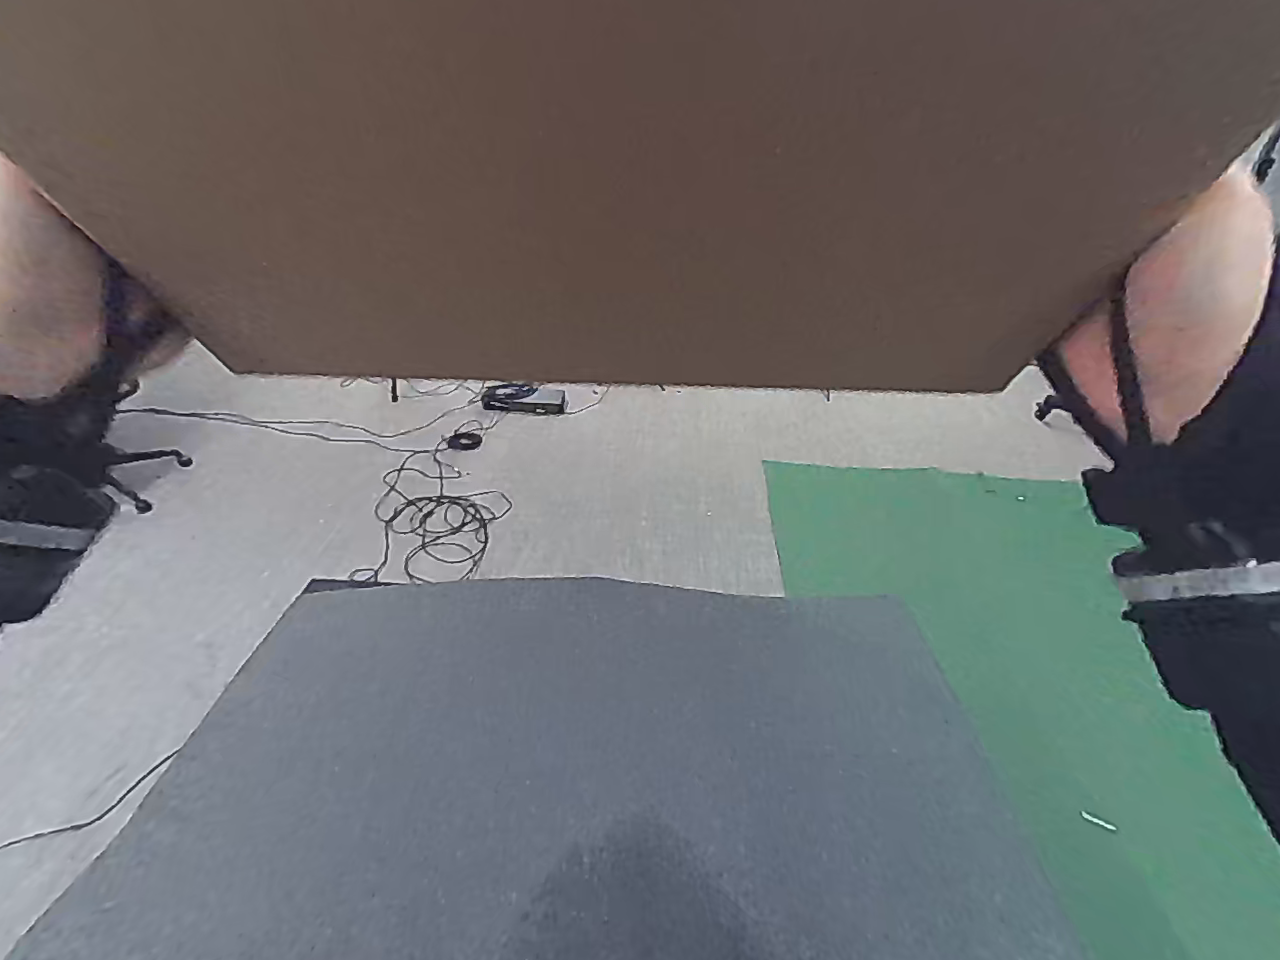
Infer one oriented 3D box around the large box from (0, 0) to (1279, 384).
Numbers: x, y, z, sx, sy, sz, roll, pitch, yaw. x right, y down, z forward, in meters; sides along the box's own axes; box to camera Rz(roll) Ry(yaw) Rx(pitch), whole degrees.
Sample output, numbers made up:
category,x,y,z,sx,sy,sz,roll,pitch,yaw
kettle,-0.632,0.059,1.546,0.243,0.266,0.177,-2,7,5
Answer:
category,x,y,z,sx,sy,sz,roll,pitch,yaw
large box,-0.013,-0.252,0.224,0.408,0.320,0.320,1,65,0
